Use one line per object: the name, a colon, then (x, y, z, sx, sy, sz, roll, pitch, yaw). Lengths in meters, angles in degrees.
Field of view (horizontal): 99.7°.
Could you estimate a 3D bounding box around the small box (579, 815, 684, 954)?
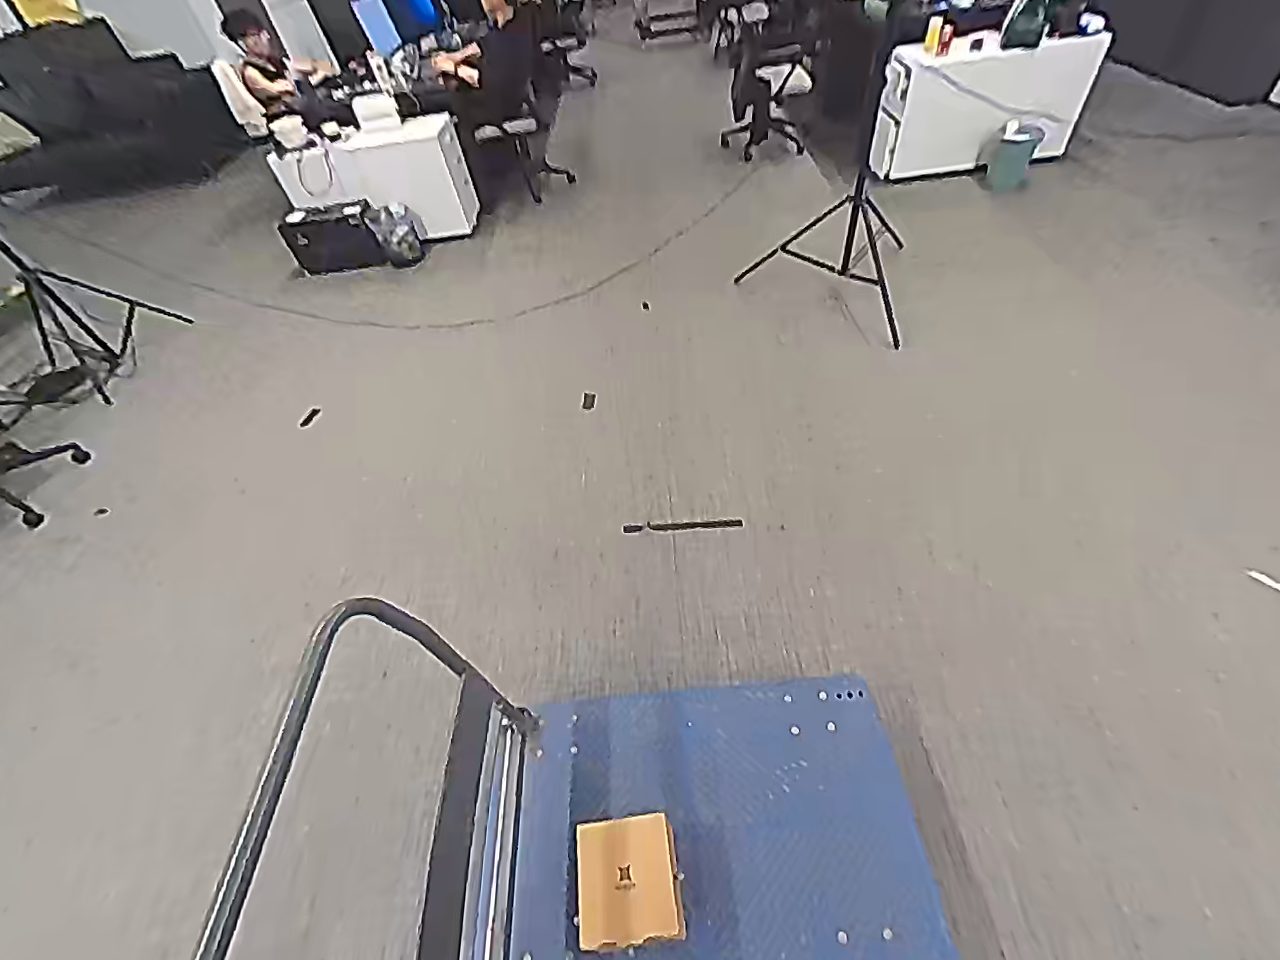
small box: (-0.015, 0.738, 0.984, 0.168, 0.176, 0.179, -10, 49, 0)
